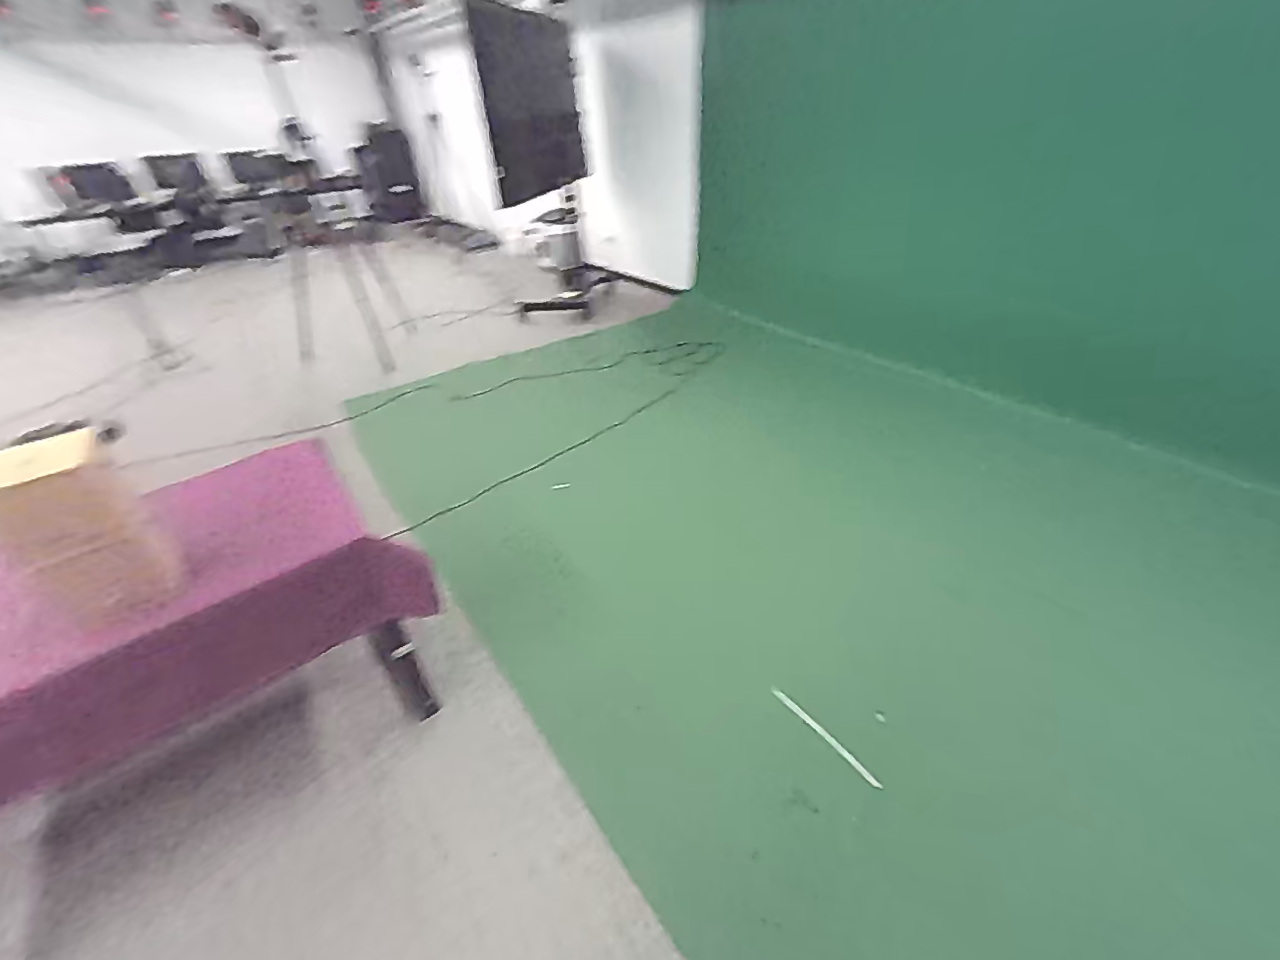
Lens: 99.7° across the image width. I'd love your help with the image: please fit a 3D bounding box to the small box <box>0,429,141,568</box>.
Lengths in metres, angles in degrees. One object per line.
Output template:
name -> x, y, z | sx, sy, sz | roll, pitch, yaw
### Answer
small box -> -1.081, 0.032, 1.010 | 0.168, 0.176, 0.179 | -25, 42, -28
